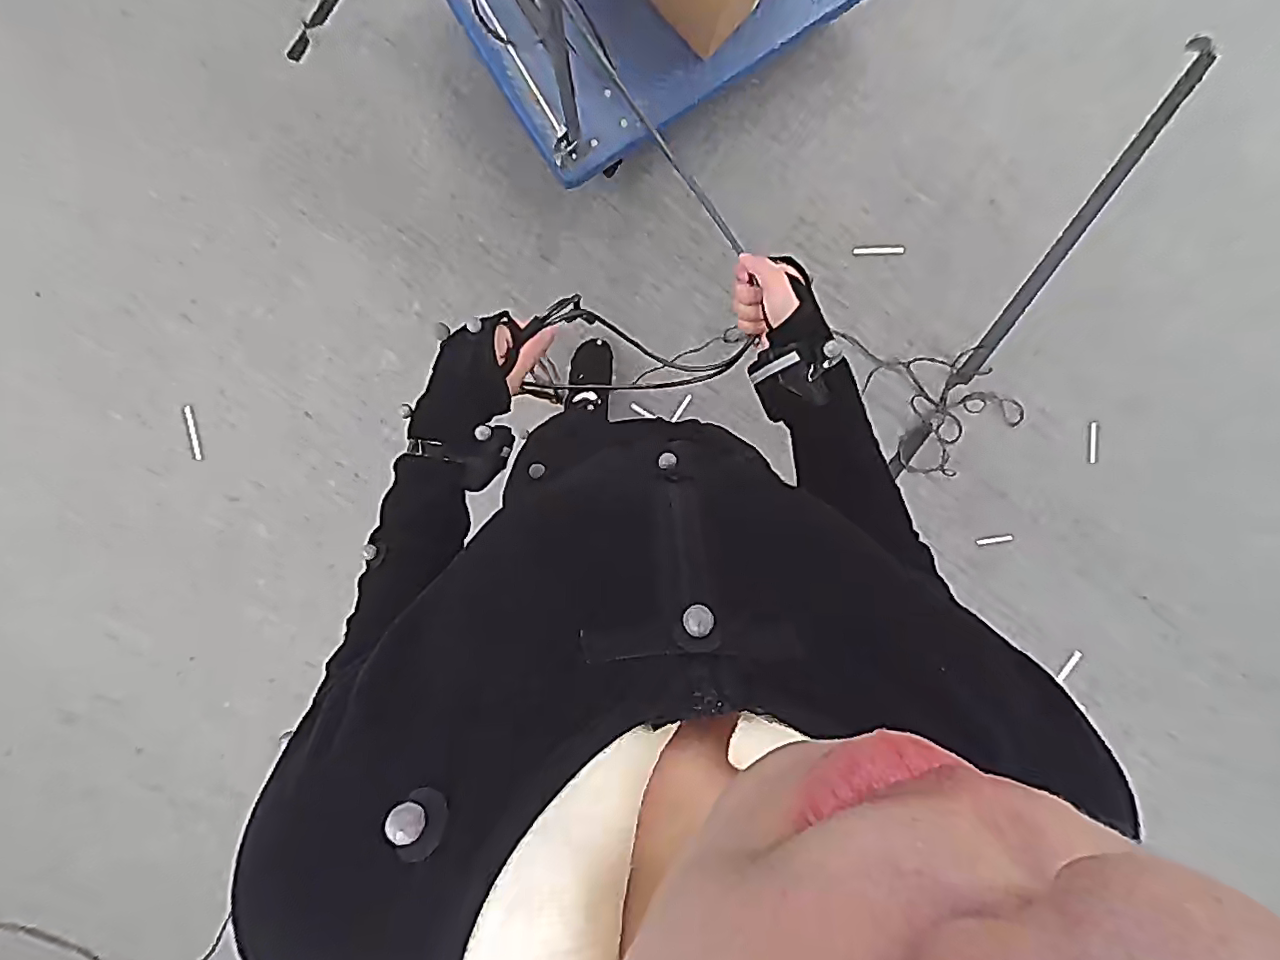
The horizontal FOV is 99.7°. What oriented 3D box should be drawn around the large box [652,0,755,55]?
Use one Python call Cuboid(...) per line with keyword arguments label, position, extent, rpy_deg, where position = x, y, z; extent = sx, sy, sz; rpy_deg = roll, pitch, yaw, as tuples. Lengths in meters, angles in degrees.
Cuboid(label="large box", position=(0.109, -1.140, 0.996), extent=(0.408, 0.320, 0.320), rpy_deg=(42, 95, -10))
